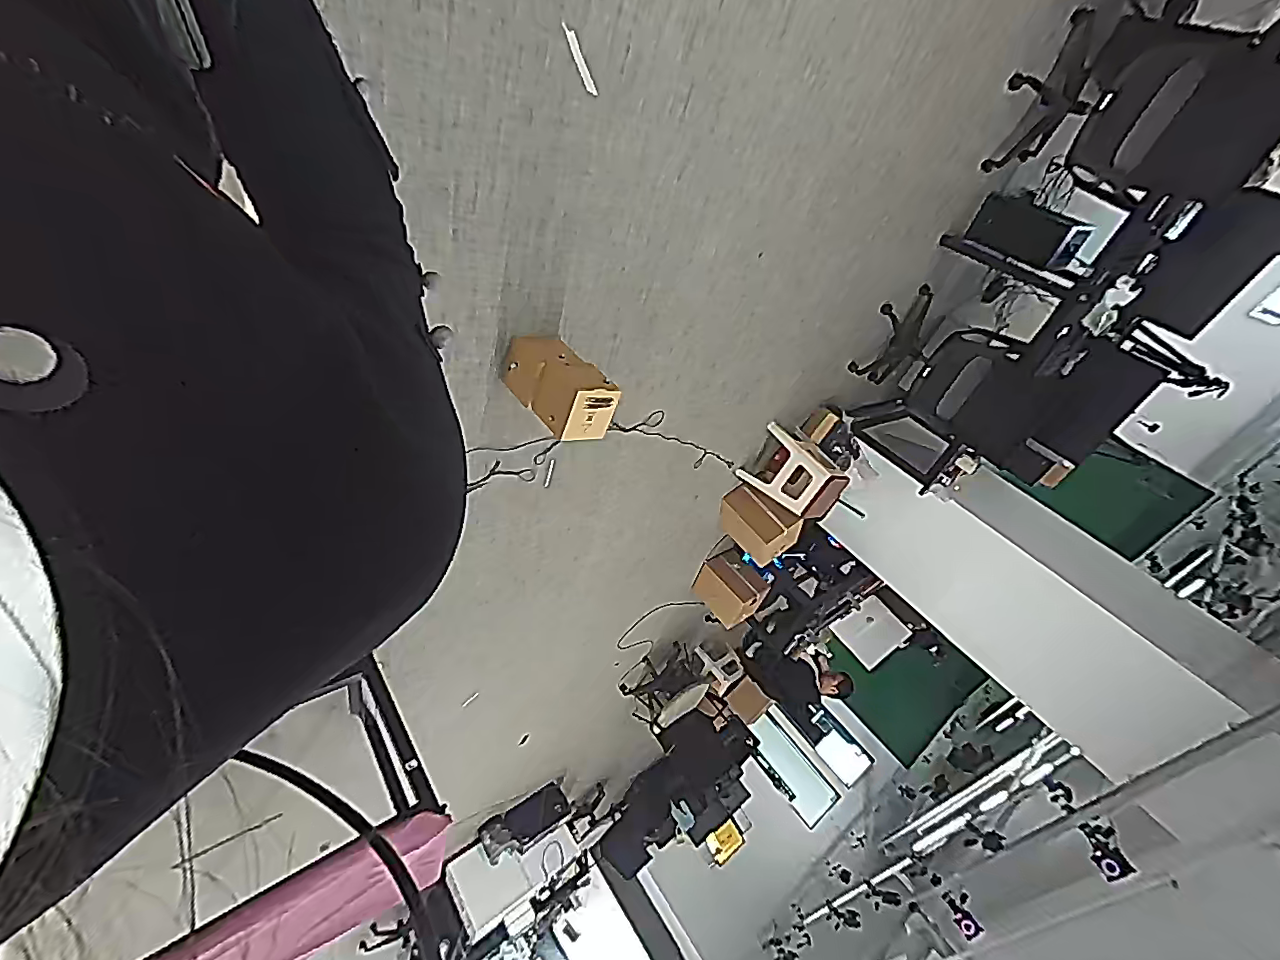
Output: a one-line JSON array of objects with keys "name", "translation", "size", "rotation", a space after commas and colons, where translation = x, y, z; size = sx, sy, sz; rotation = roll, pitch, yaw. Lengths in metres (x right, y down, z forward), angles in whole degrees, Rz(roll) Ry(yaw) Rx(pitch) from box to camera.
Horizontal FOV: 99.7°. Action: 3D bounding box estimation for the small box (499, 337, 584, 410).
[{"name": "small box", "translation": [-0.312, -0.335, 1.697], "size": [0.179, 0.176, 0.168], "rotation": [-7, 132, -44]}]
